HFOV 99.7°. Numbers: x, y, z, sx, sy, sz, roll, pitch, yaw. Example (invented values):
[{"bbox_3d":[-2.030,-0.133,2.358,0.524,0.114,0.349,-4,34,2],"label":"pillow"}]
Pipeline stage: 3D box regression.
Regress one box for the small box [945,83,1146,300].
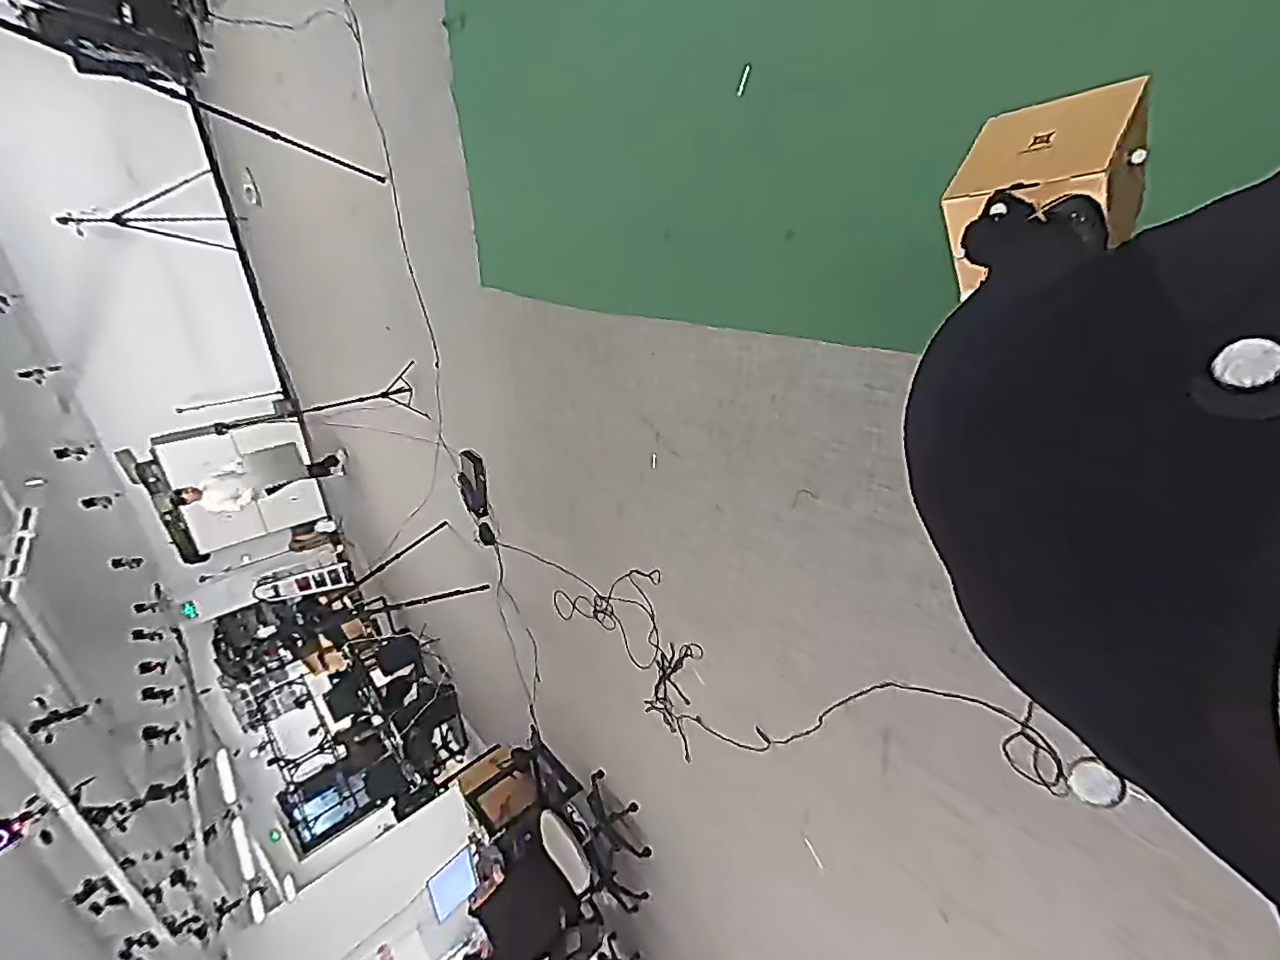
[{"bbox_3d":[0.534,-0.365,0.715,0.168,0.179,0.176,15,156,47],"label":"small box"}]
